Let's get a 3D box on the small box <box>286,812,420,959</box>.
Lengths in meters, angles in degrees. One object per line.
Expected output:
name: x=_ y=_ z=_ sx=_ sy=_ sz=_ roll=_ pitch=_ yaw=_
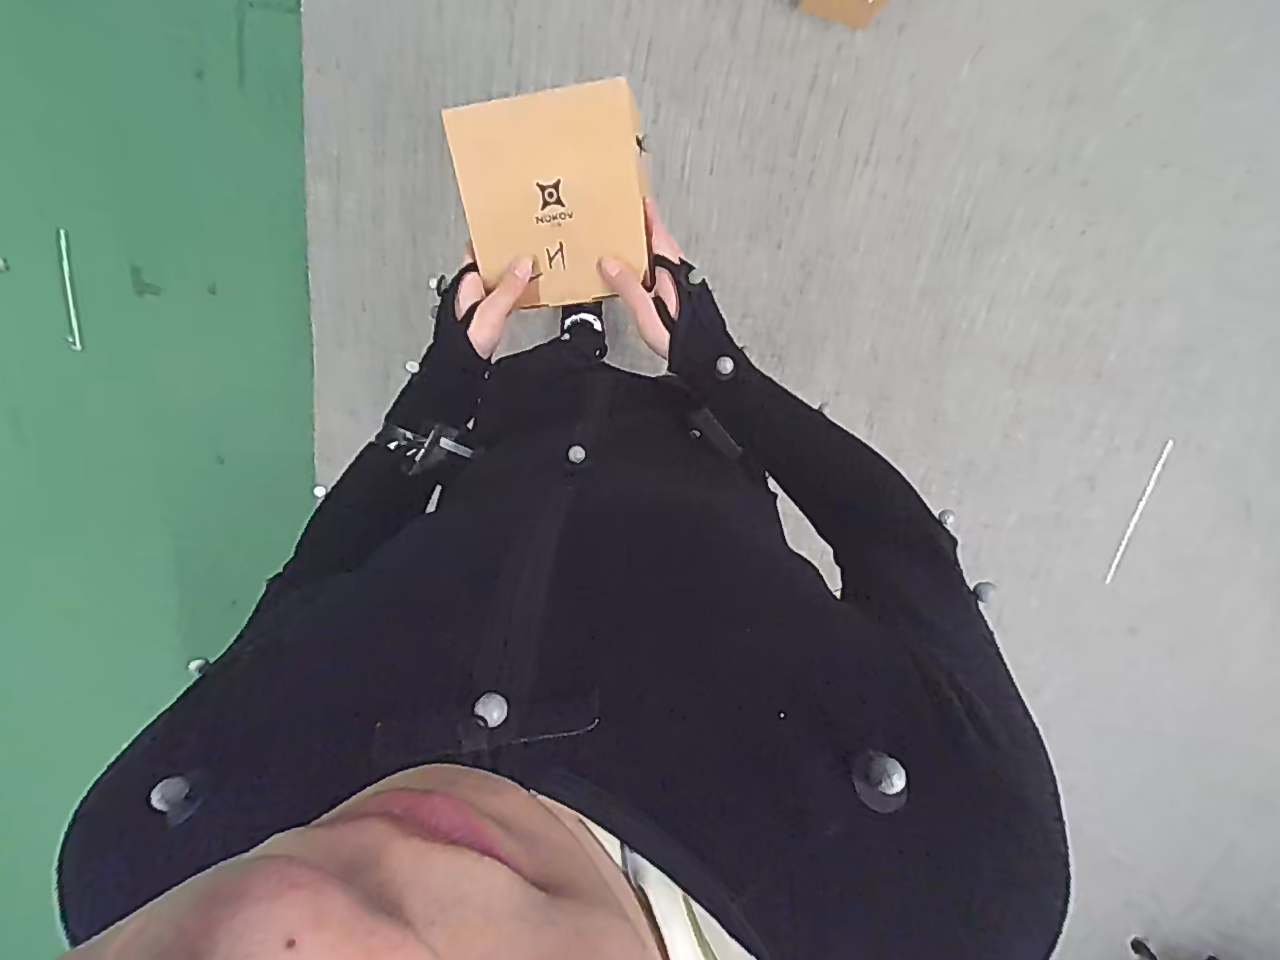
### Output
small box: x=-0.539 y=0.774 z=1.037 sx=0.179 sy=0.176 sz=0.168 roll=9 pitch=109 yaw=-3

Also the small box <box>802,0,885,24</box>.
small box: x=0.472 y=-1.138 z=1.172 sx=0.179 sy=0.176 sz=0.168 roll=11 pitch=108 yaw=-4

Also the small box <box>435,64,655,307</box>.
small box: x=-0.078 y=-0.285 z=0.554 sx=0.168 sy=0.176 sz=0.179 roll=-5 pitch=114 yaw=8

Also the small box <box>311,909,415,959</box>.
small box: x=-0.578 y=1.009 z=1.114 sx=0.168 sy=0.176 sz=0.179 roll=8 pitch=108 yaw=-2
